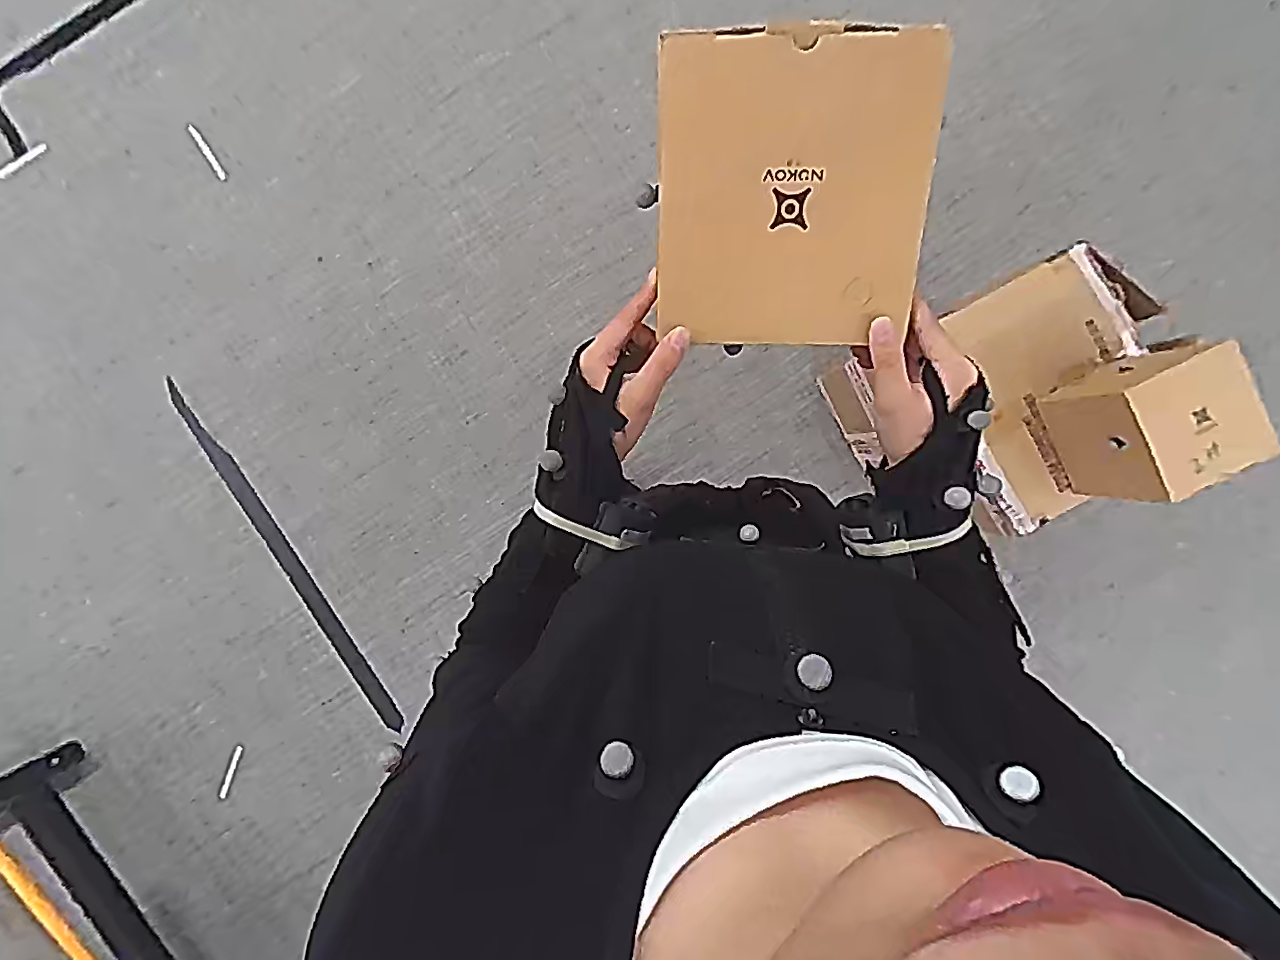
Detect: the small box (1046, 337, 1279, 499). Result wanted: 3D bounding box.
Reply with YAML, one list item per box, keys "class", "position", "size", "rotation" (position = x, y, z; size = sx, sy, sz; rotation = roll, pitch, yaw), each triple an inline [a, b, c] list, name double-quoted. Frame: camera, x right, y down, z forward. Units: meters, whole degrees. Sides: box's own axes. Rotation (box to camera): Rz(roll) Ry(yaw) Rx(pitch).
- class: "small box"
  position: [0.768, -0.087, 0.814]
  size: [0.168, 0.176, 0.179]
  rotation: [-26, 93, 2]

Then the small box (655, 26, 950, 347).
- class: "small box"
  position: [0.097, -0.199, 0.408]
  size: [0.168, 0.176, 0.179]
  rotation: [0, 109, 3]
